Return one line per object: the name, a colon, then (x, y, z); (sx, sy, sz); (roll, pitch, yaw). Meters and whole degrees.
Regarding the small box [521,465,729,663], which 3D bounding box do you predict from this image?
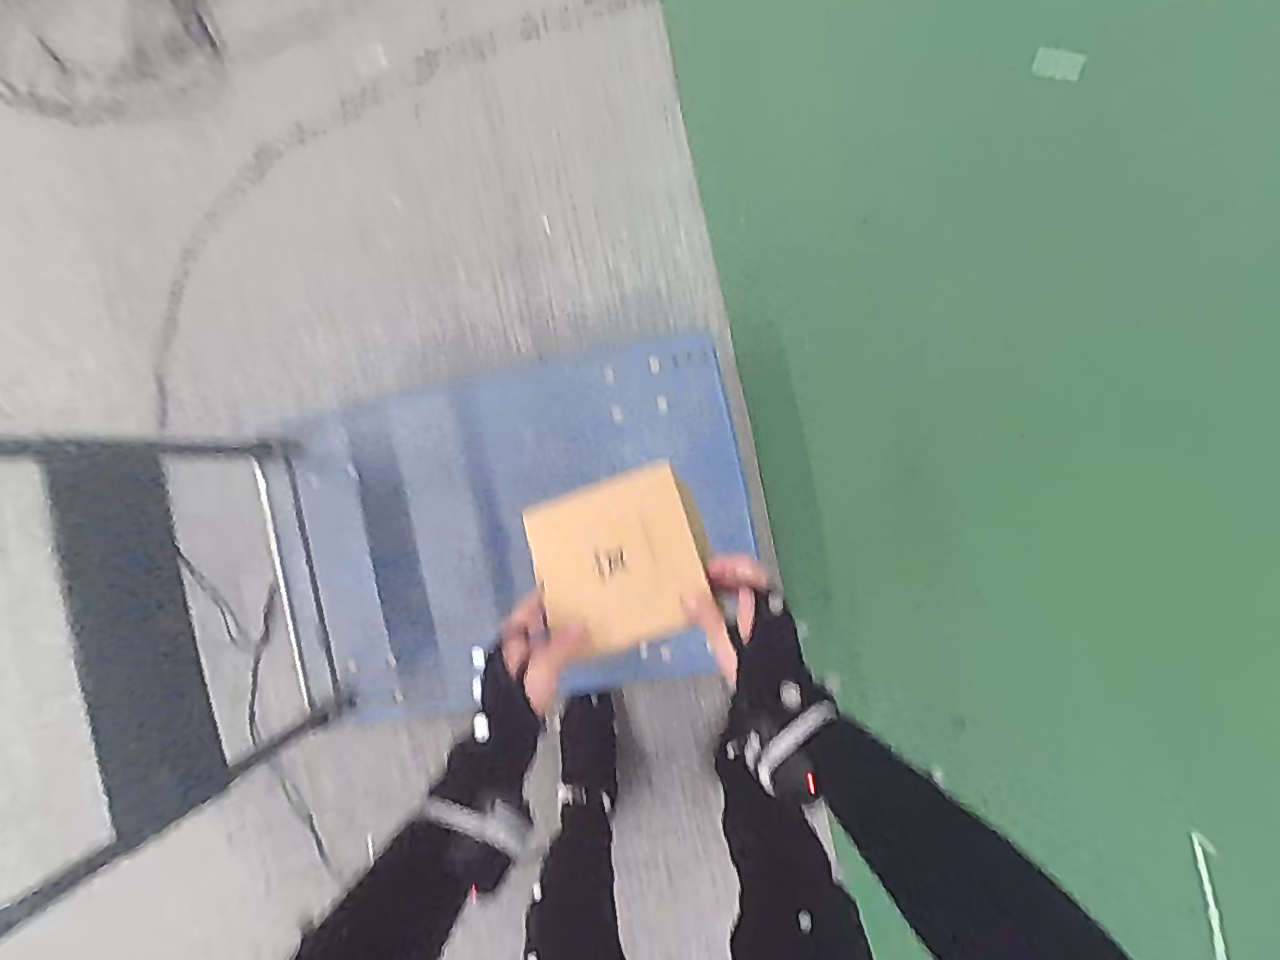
small box: (-0.009, 0.103, 0.625); (0.179, 0.176, 0.168); (-19, 73, 10)
